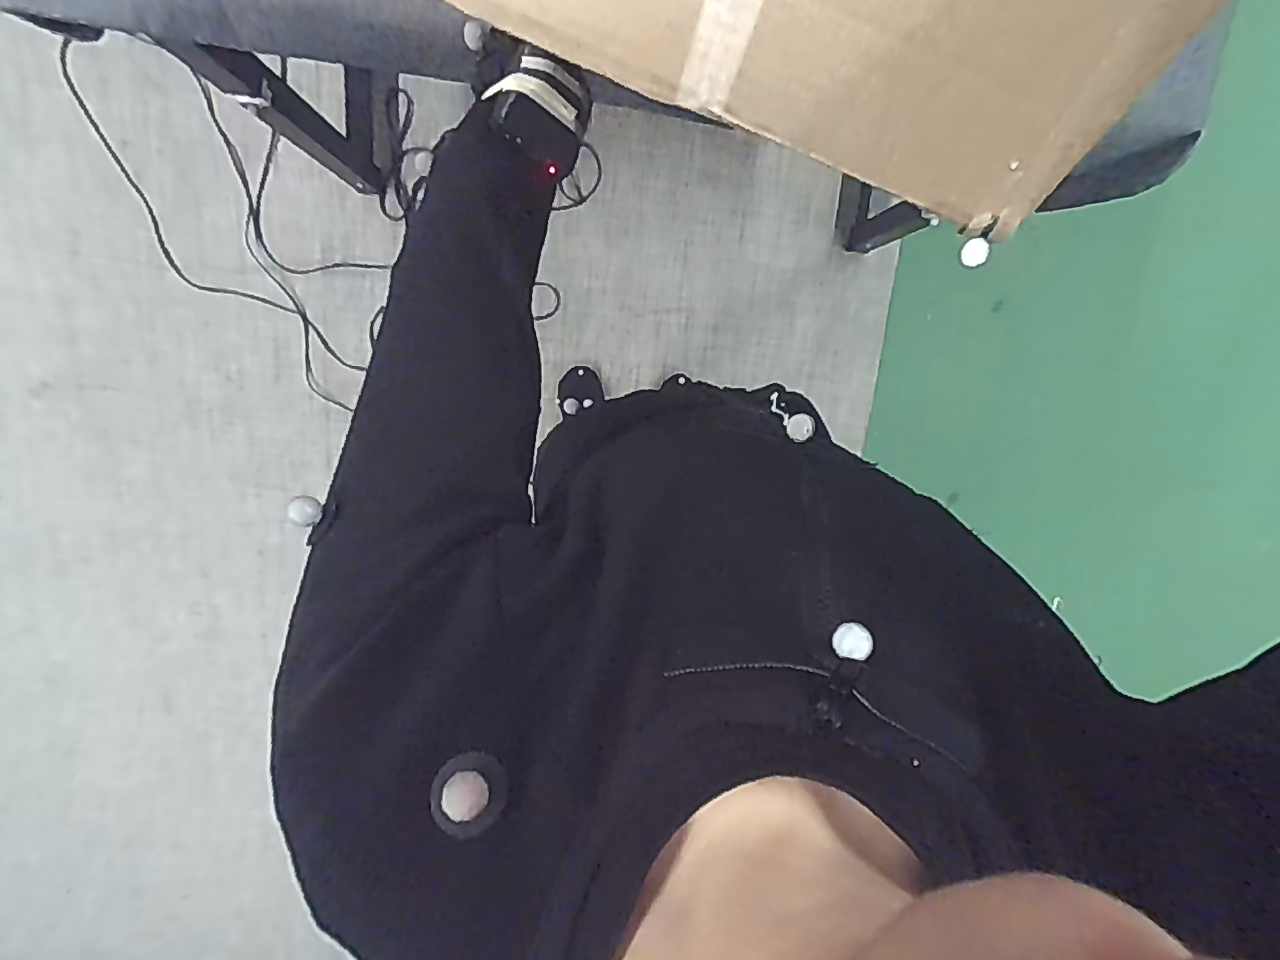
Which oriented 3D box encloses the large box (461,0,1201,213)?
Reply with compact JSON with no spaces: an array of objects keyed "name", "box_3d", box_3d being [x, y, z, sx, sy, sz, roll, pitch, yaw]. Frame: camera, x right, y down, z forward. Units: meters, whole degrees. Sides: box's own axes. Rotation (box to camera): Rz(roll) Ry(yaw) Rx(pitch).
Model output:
[{"name":"large box","box_3d":[0.123,-0.403,0.187,0.320,0.320,0.408,19,144,-5]}]
